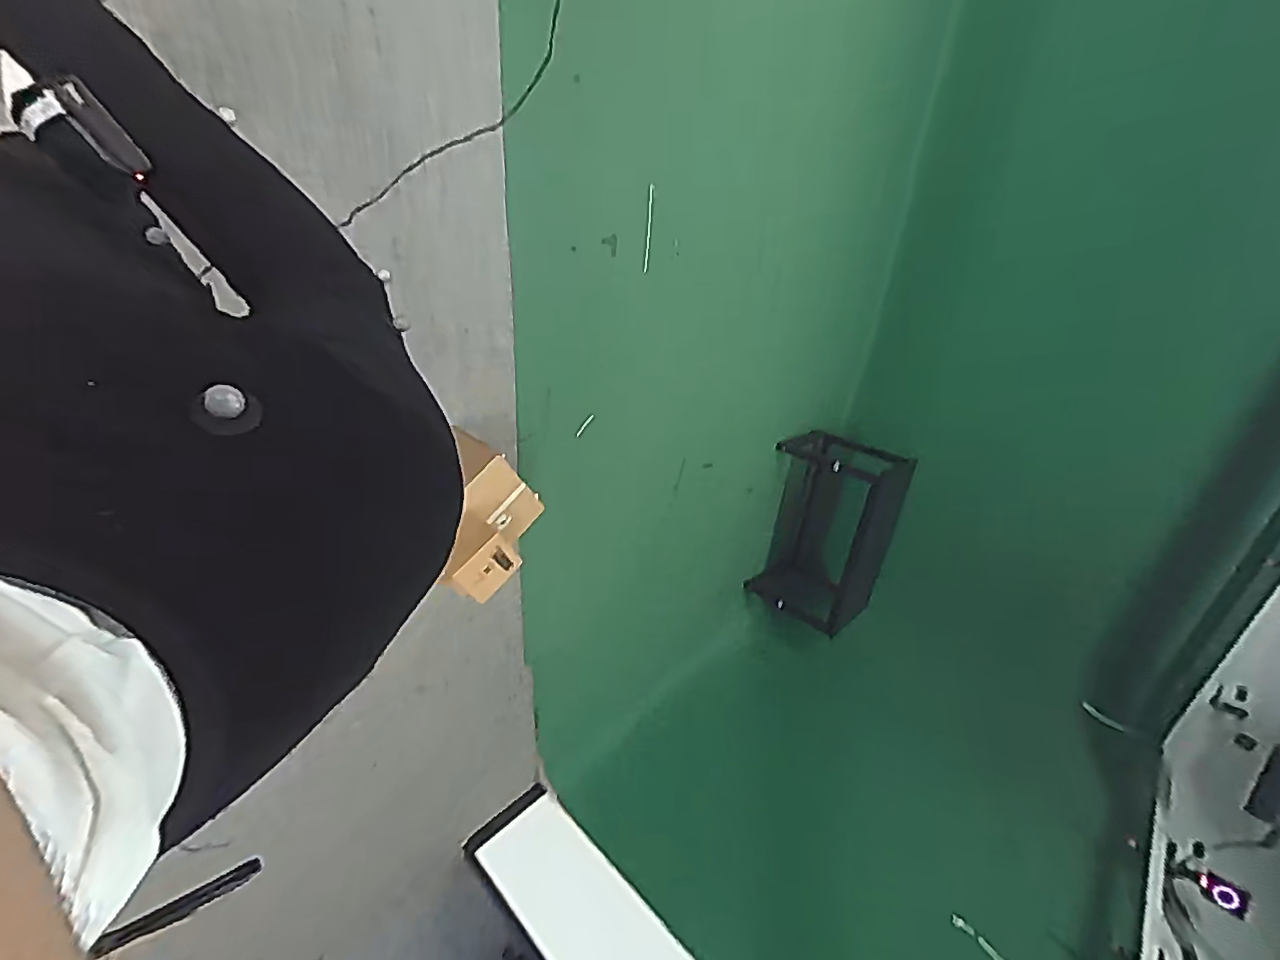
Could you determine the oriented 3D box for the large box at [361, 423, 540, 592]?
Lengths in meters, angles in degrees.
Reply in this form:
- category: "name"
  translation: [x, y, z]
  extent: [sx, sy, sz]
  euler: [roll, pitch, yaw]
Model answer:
- category: "large box"
  translation: [-0.623, 0.085, 1.802]
  extent: [0.408, 0.320, 0.320]
  euler: [-51, 142, -18]
